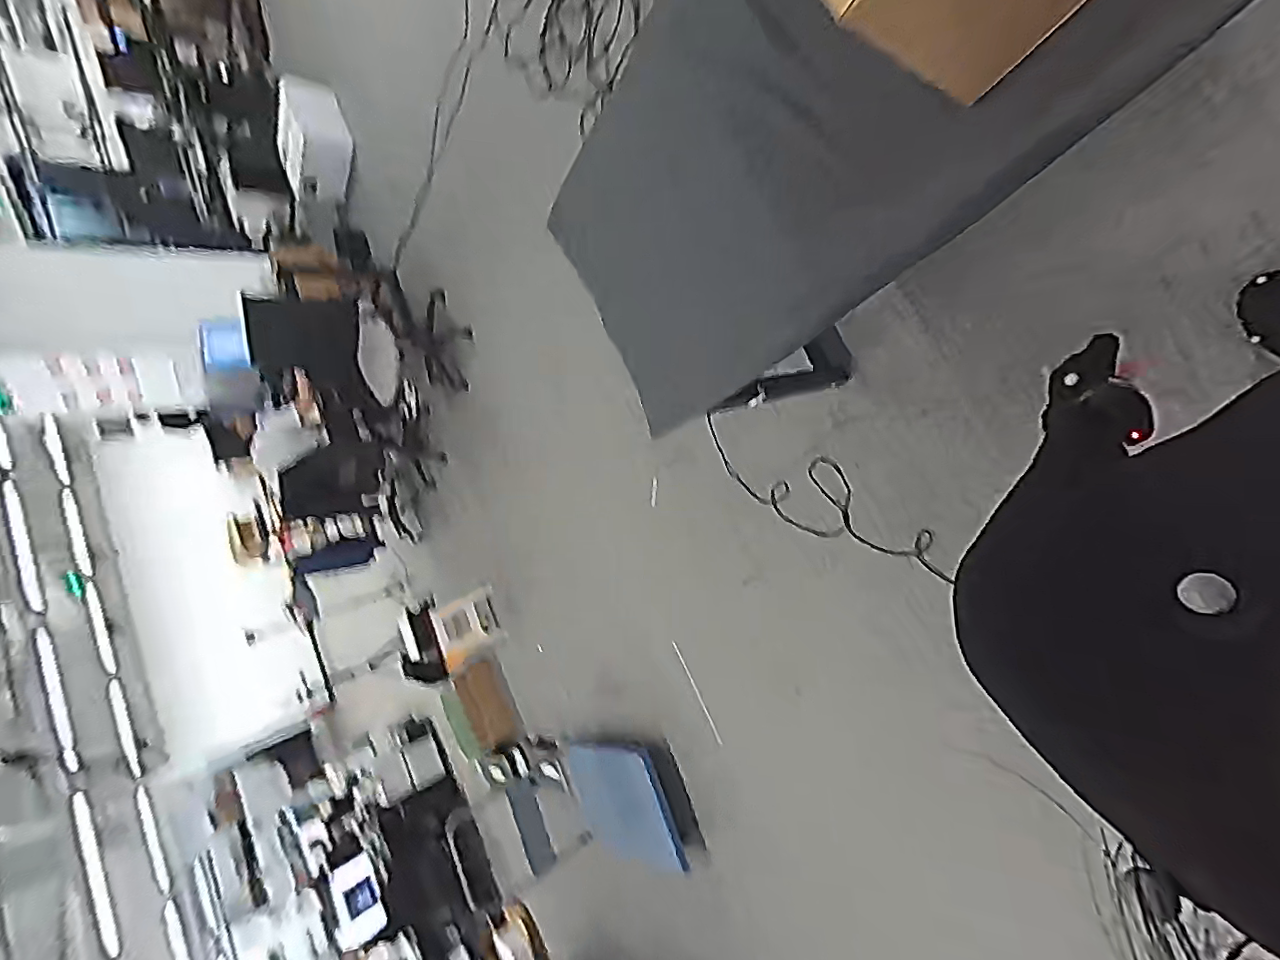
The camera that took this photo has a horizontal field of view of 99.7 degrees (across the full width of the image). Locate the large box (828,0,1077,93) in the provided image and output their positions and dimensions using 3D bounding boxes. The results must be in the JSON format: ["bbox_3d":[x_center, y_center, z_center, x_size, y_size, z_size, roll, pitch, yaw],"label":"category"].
[{"bbox_3d":[0.285,-0.662,0.486,0.320,0.320,0.408,-40,70,48],"label":"large box"}]
